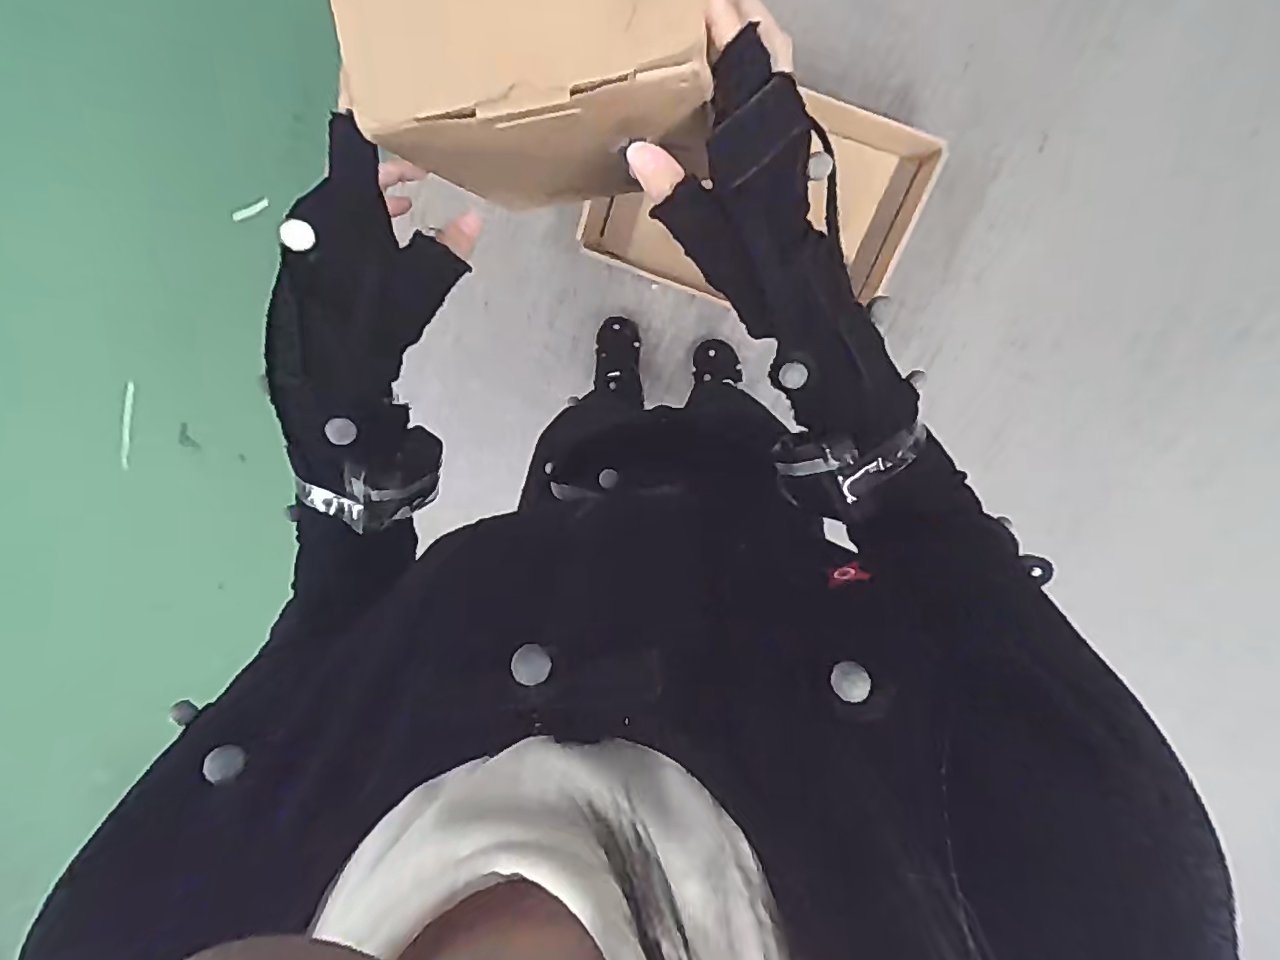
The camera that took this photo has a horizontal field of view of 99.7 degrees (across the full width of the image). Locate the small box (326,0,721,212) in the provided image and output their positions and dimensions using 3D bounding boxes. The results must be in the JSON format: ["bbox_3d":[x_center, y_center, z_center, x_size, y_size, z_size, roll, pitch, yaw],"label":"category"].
[{"bbox_3d":[-0.049,-0.264,0.298,0.168,0.176,0.179,-4,103,14],"label":"small box"}]
